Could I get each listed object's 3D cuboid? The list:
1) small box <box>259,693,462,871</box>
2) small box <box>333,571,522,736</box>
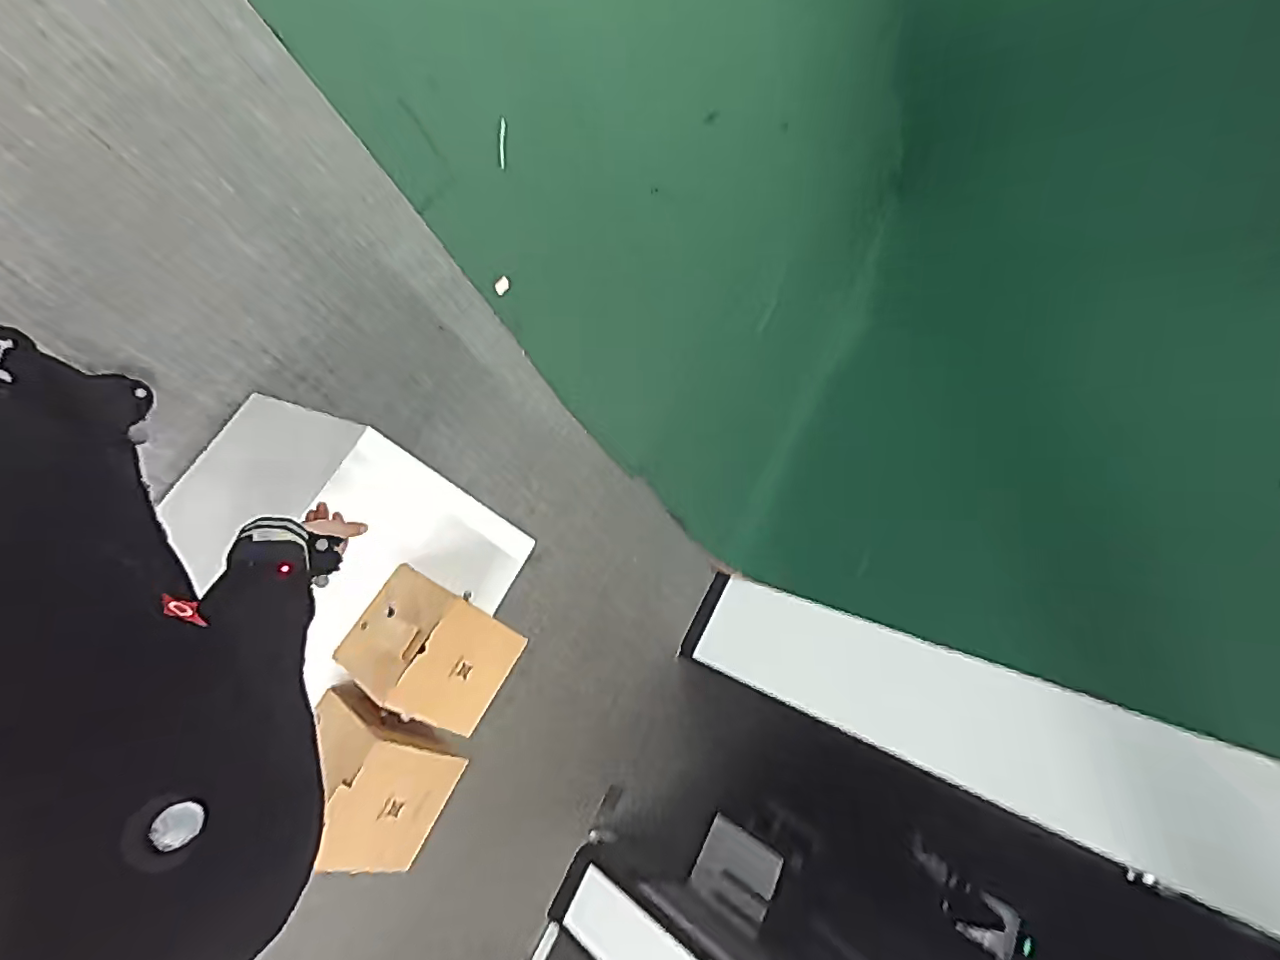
[{"bbox_3d":[-0.410,0.437,0.795,0.168,0.176,0.179,-61,139,-17],"label":"small box"},{"bbox_3d":[-0.328,0.264,0.842,0.168,0.176,0.179,-59,137,-20],"label":"small box"}]
